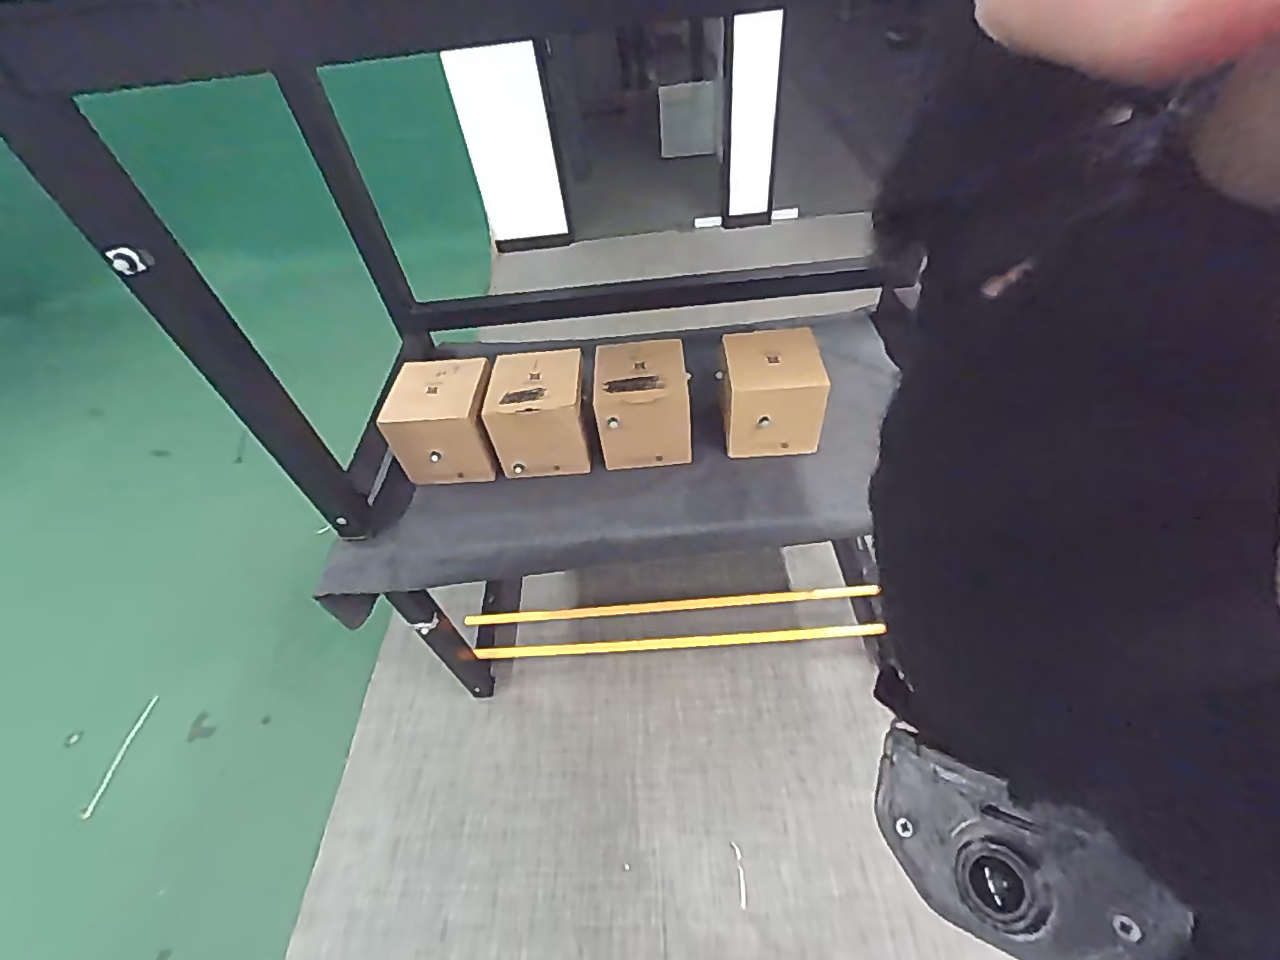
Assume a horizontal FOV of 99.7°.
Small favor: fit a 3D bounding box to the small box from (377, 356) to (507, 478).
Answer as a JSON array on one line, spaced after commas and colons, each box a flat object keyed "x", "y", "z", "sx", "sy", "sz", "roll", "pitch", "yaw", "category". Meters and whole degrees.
[{"x": -0.366, "y": -0.116, "z": 1.038, "sx": 0.168, "sy": 0.176, "sz": 0.179, "roll": -2, "pitch": 48, "yaw": 3, "category": "small box"}]

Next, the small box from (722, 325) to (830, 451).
[{"x": 0.243, "y": -0.165, "z": 1.011, "sx": 0.168, "sy": 0.176, "sz": 0.179, "roll": -3, "pitch": 48, "yaw": 4, "category": "small box"}]
